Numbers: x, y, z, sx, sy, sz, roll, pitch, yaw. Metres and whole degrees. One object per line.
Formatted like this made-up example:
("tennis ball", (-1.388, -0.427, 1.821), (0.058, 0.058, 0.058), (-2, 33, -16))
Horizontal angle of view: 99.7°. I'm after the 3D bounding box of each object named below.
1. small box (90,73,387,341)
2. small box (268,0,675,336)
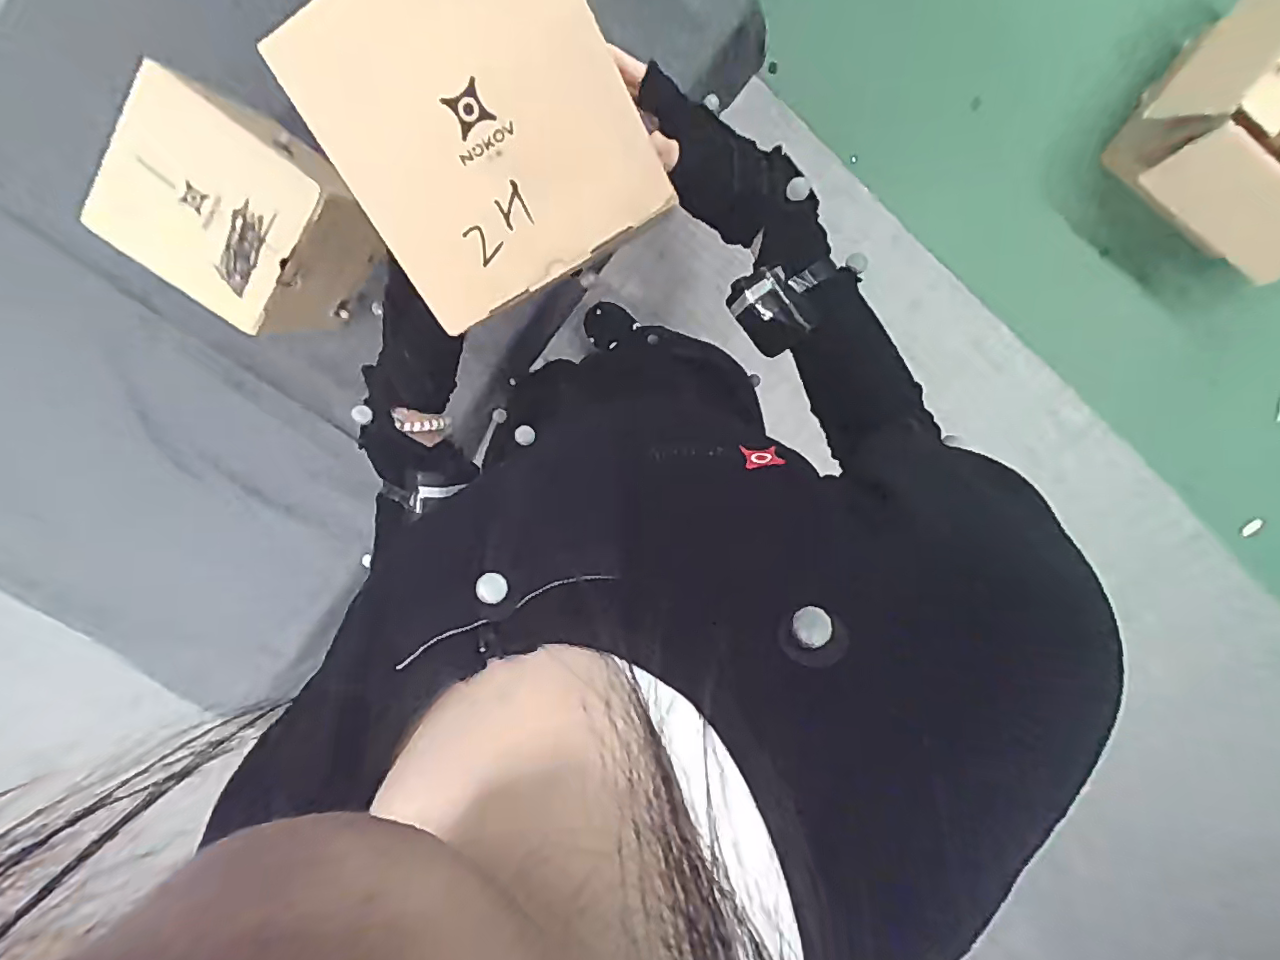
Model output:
("small box", (-0.403, -0.273, 0.583), (0.179, 0.176, 0.168), (35, 104, -9))
("small box", (-0.089, -0.225, 0.375), (0.168, 0.176, 0.179), (-26, 111, 12))
